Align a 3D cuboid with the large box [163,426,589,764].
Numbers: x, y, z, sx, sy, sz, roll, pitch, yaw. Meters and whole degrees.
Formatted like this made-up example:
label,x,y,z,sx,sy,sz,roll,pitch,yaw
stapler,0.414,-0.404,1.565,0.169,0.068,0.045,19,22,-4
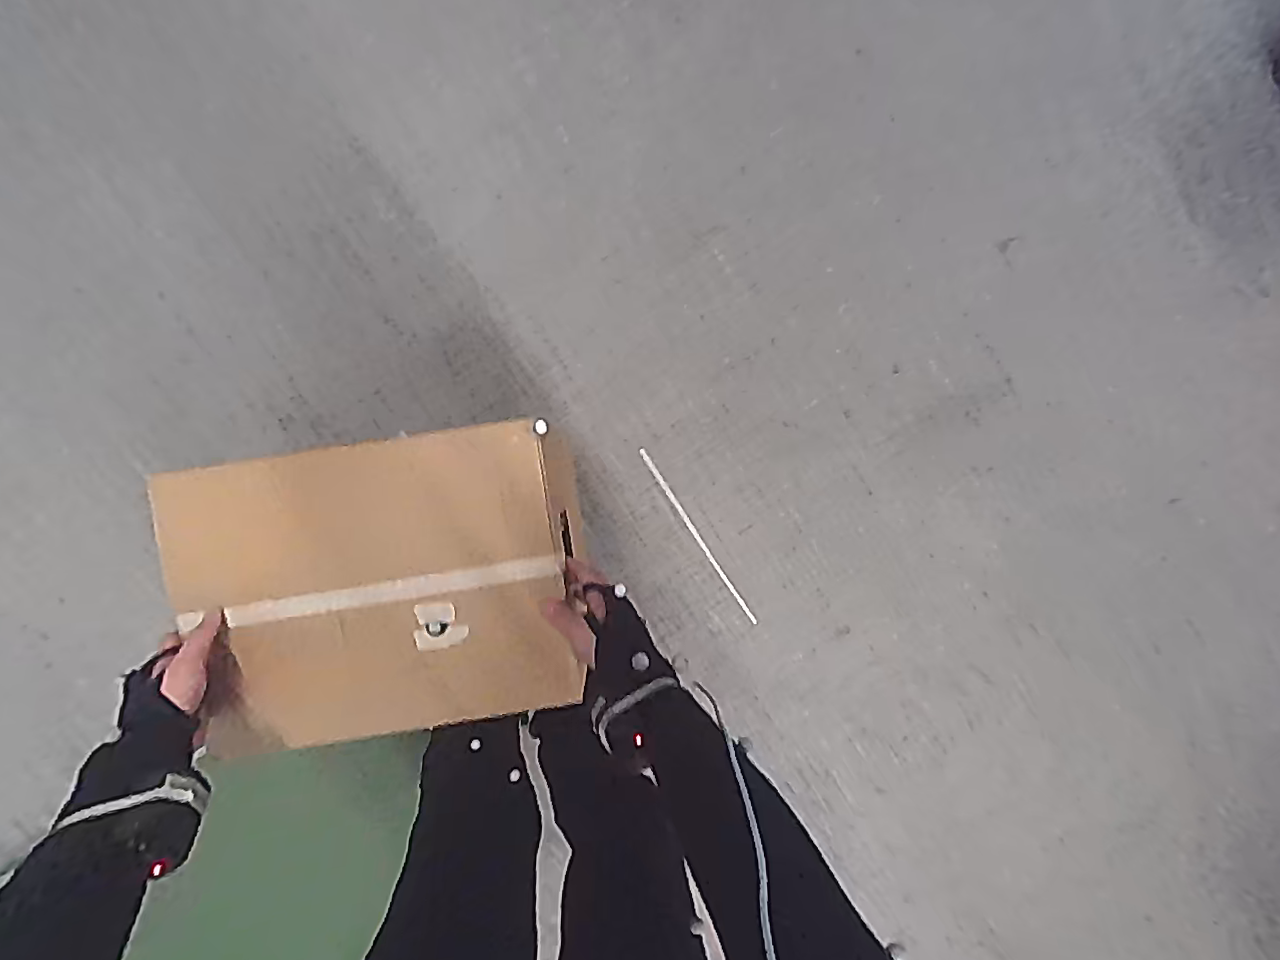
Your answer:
label,x,y,z,sx,sy,sz,roll,pitch,yaw
large box,-0.296,0.120,0.736,0.408,0.320,0.320,-10,94,-2
